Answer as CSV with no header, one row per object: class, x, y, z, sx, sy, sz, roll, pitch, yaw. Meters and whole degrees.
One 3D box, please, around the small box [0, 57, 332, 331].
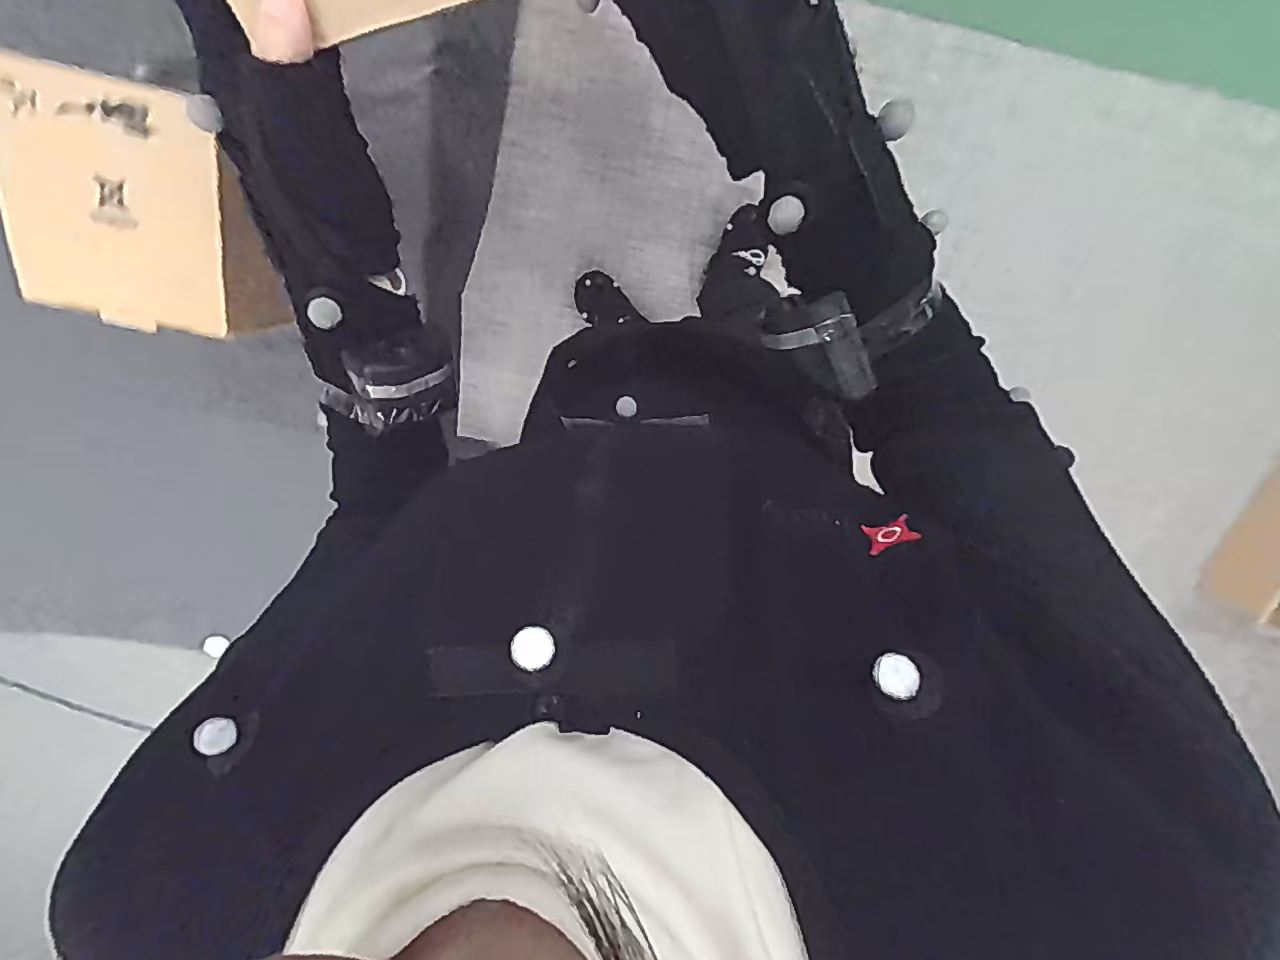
small box,-0.412,-0.250,0.504,0.168,0.176,0.179,8,112,-3
